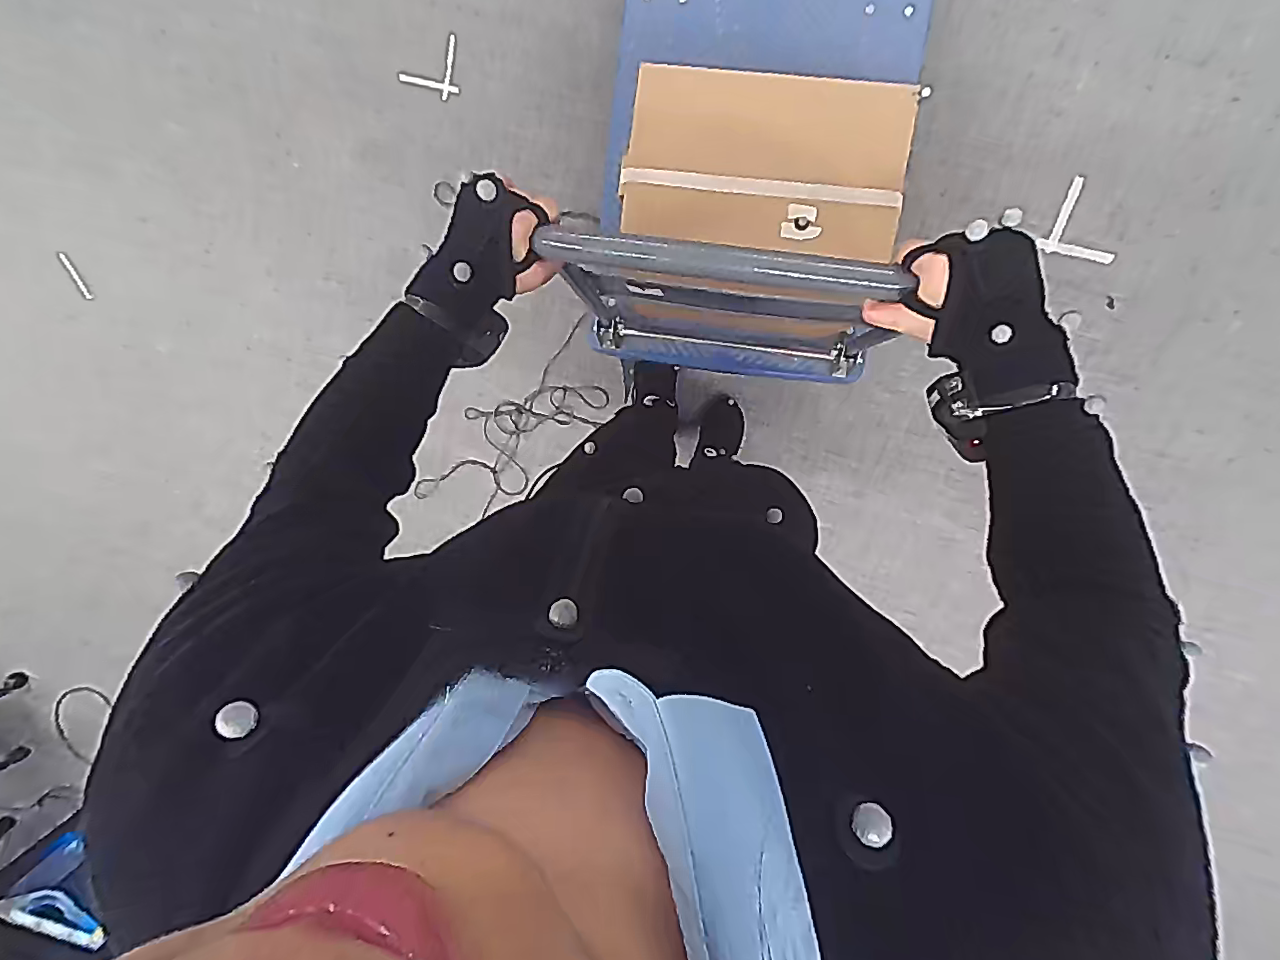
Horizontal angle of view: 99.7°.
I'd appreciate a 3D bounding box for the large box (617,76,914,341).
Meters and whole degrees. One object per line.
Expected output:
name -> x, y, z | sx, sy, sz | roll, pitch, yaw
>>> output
large box -> 0.188, -0.439, 0.949 | 0.408, 0.320, 0.320 | 8, 99, 4
